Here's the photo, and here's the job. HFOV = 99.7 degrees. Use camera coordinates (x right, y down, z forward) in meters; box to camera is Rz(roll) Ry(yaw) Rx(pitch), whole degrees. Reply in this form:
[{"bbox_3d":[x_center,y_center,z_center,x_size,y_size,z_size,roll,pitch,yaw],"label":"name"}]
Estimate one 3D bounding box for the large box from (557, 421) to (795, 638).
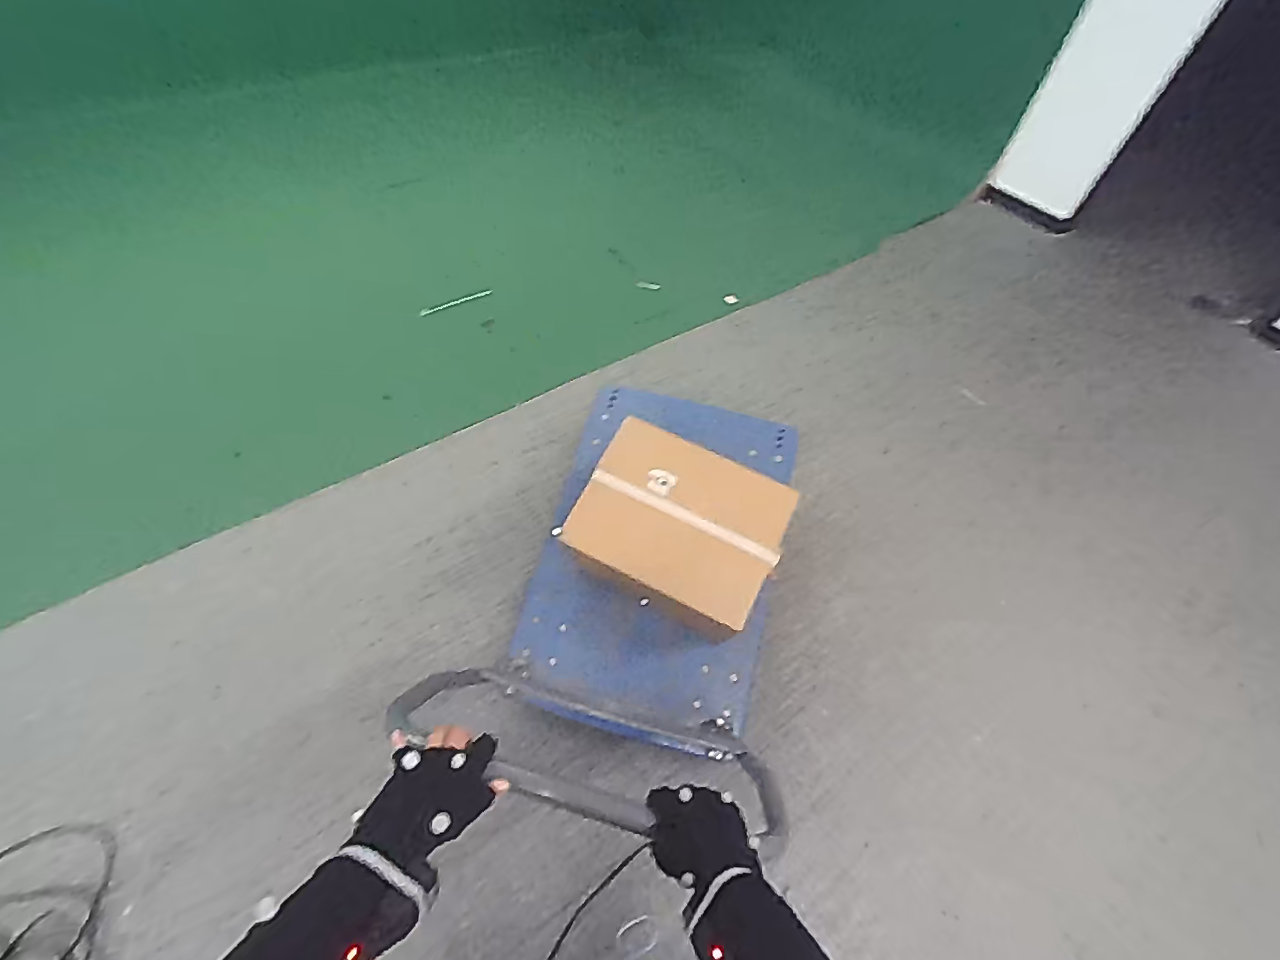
[{"bbox_3d":[0.083,0.128,1.235,0.408,0.320,0.320,26,72,11],"label":"large box"}]
